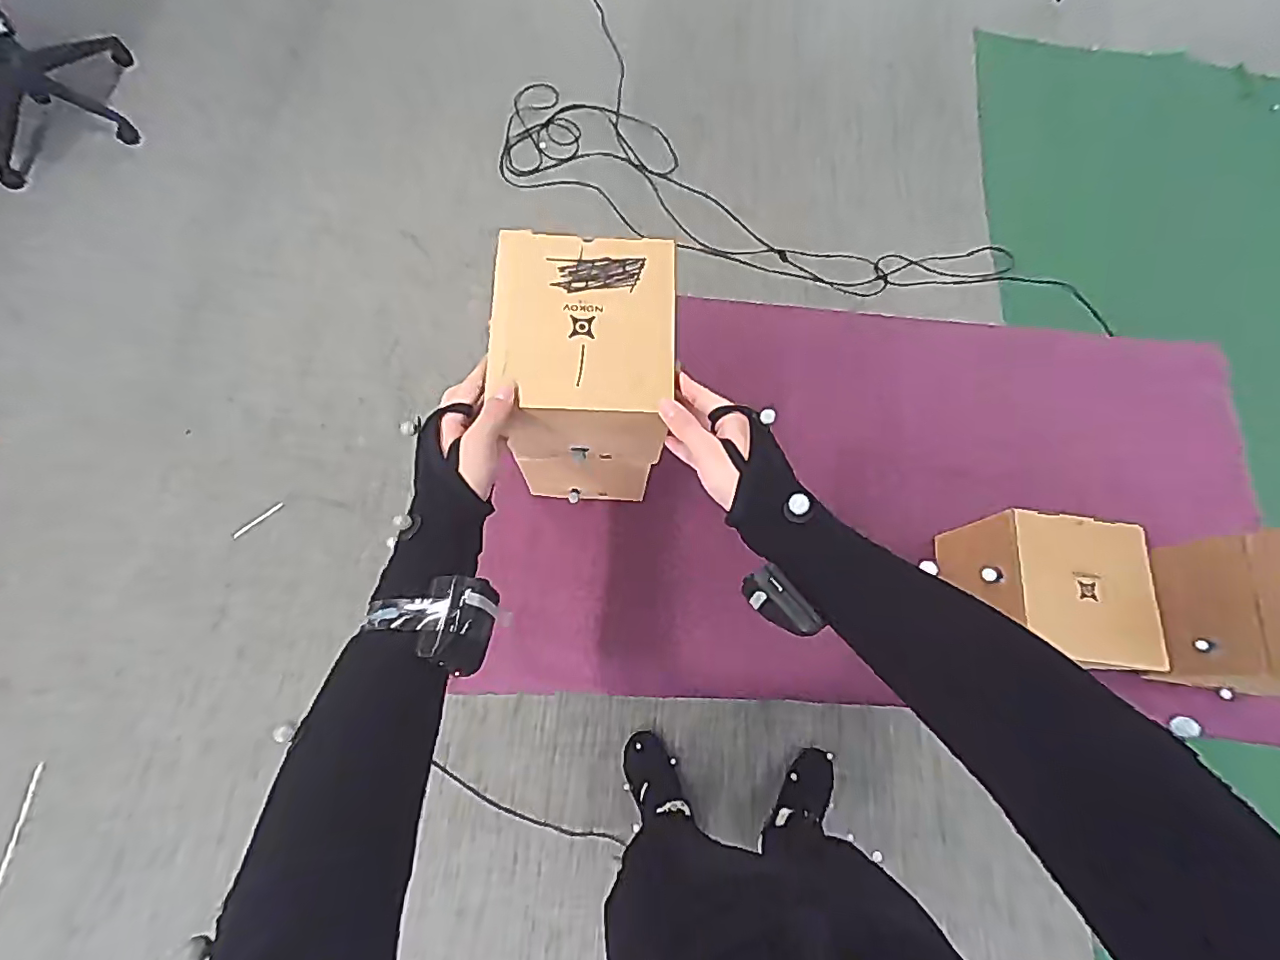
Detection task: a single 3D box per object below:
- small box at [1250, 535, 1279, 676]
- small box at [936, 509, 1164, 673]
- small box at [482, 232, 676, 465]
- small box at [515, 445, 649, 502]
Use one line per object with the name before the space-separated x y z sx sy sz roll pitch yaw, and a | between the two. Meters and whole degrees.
small box | 0.810 0.139 0.562 0.168 0.176 0.179 9 71 1
small box | 0.519 0.154 0.715 0.168 0.176 0.179 7 70 -1
small box | -0.056 -0.124 0.562 0.168 0.176 0.179 2 78 -2
small box | -0.072 -0.079 0.752 0.168 0.176 0.179 3 73 -2
